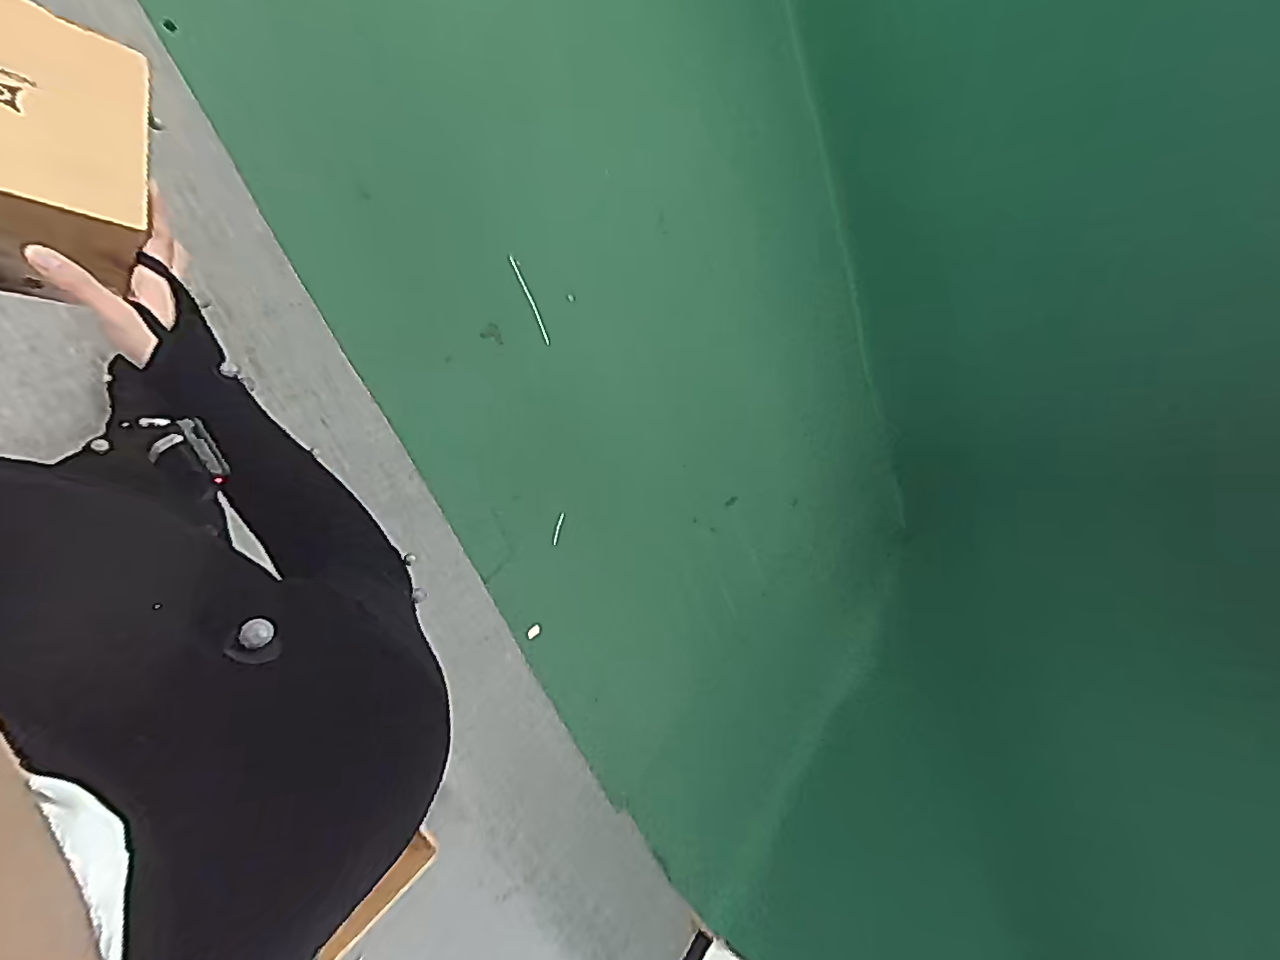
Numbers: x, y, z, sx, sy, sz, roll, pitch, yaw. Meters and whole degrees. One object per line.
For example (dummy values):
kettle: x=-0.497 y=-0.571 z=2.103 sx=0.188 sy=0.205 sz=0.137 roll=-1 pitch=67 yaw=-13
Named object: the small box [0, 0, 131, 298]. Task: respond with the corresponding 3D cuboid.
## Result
small box: x=-0.533 y=-0.275 z=0.435 sx=0.168 sy=0.176 sz=0.179 roll=2 pitch=75 yaw=-50
